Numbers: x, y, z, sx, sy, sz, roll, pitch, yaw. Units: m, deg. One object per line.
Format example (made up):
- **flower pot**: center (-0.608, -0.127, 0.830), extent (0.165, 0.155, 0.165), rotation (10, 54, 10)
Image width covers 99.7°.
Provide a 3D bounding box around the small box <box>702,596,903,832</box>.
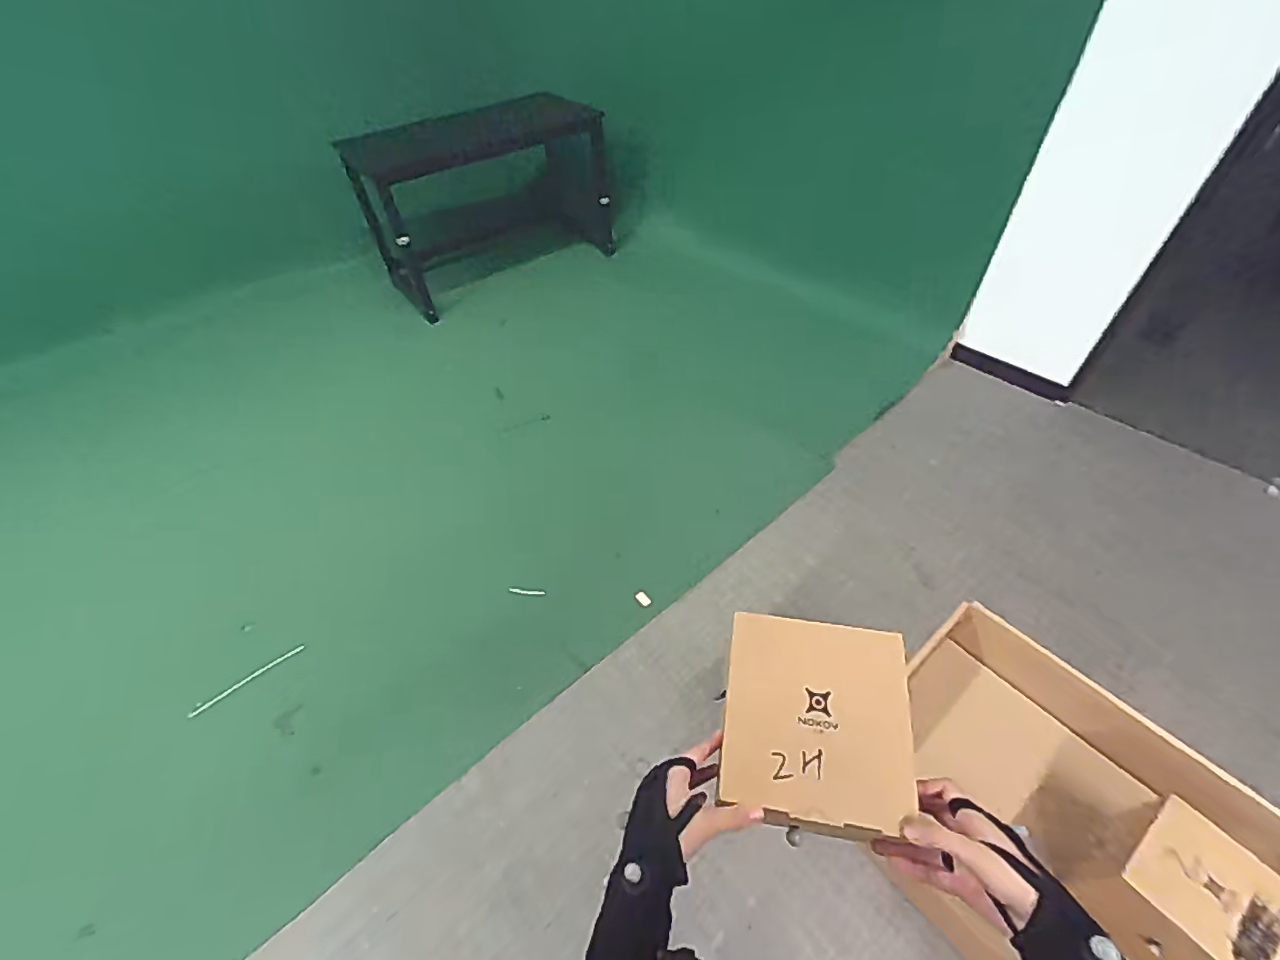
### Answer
- **small box**: center (0.158, 0.246, 0.564), extent (0.168, 0.176, 0.179), rotation (8, 56, 10)
